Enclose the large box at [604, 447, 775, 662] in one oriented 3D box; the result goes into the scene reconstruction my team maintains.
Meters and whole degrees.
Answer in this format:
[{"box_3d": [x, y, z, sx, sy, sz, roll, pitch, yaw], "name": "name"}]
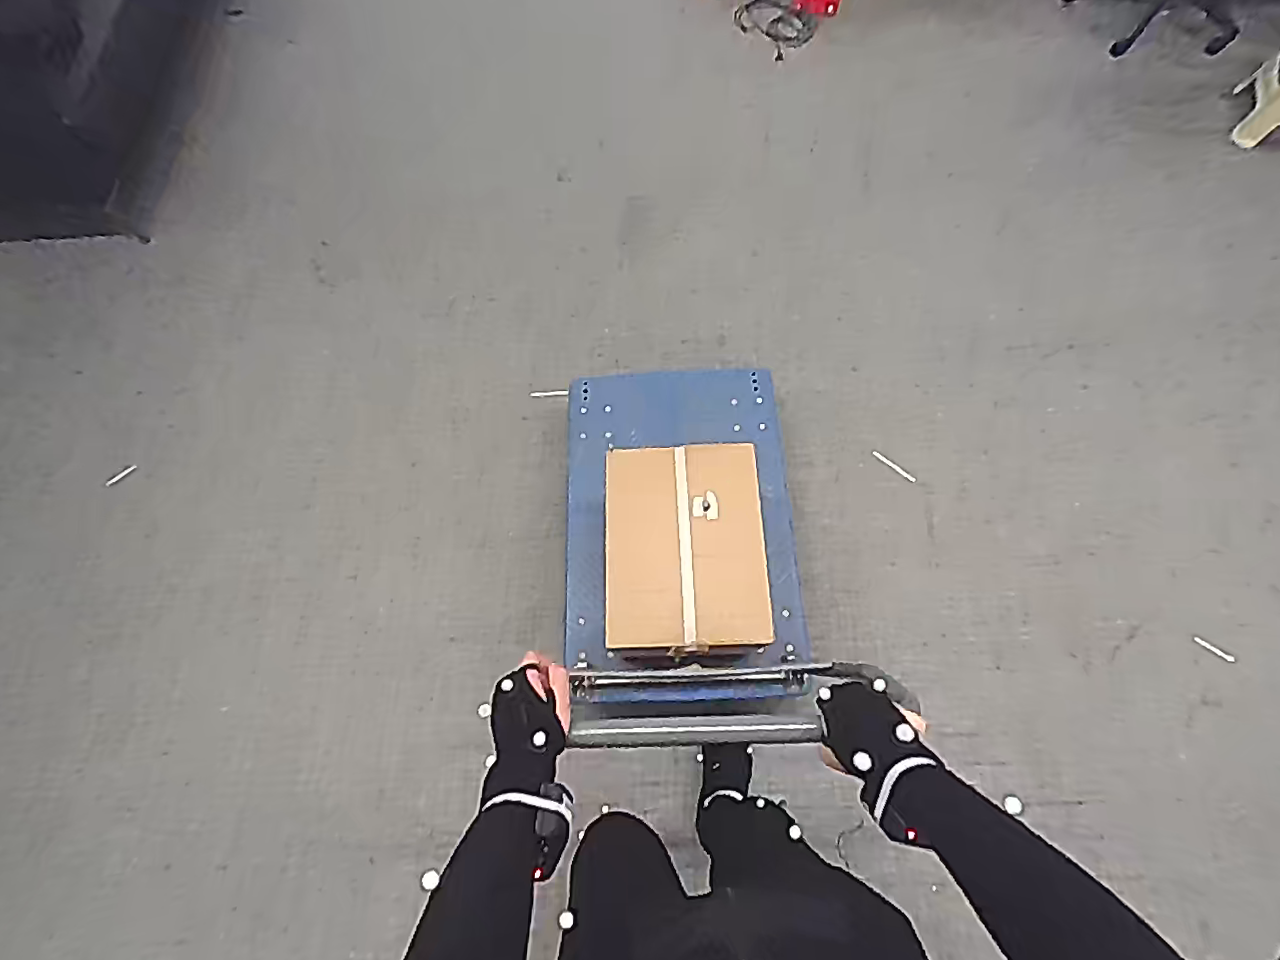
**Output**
[{"box_3d": [0.097, 0.179, 1.203, 0.320, 0.320, 0.408, -3, 68, 2], "name": "large box"}]
